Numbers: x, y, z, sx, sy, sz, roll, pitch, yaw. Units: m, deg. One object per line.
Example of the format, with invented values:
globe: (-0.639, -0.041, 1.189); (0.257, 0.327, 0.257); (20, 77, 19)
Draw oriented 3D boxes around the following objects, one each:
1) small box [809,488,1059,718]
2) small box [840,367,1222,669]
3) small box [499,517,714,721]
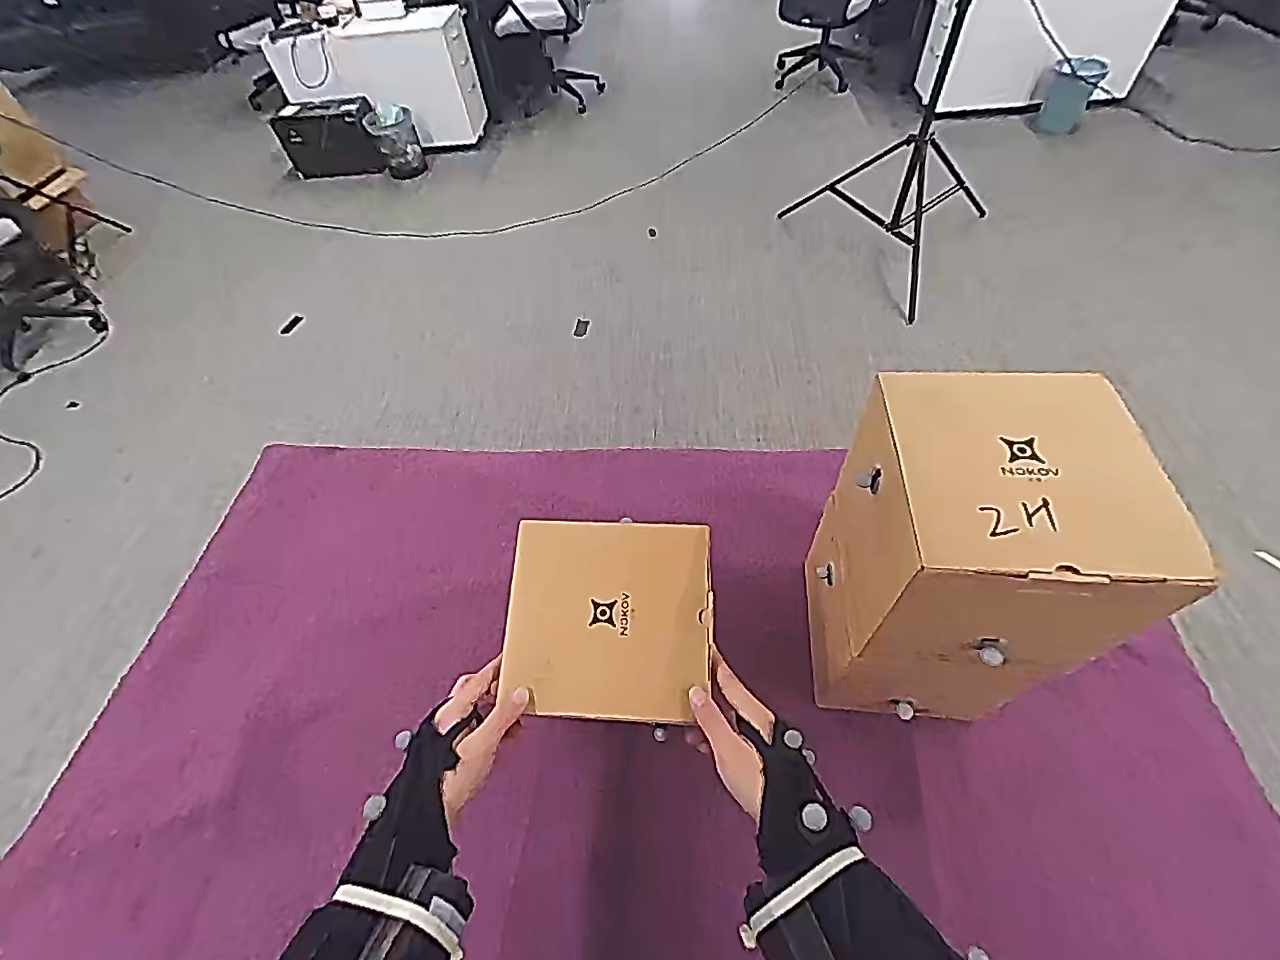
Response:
small box: (0.277, 0.129, 0.563); (0.168, 0.176, 0.179); (2, 54, 8)
small box: (0.267, 0.031, 0.431); (0.168, 0.176, 0.179); (2, 54, 8)
small box: (-0.021, 0.144, 0.535); (0.179, 0.176, 0.168); (1, 66, 2)
